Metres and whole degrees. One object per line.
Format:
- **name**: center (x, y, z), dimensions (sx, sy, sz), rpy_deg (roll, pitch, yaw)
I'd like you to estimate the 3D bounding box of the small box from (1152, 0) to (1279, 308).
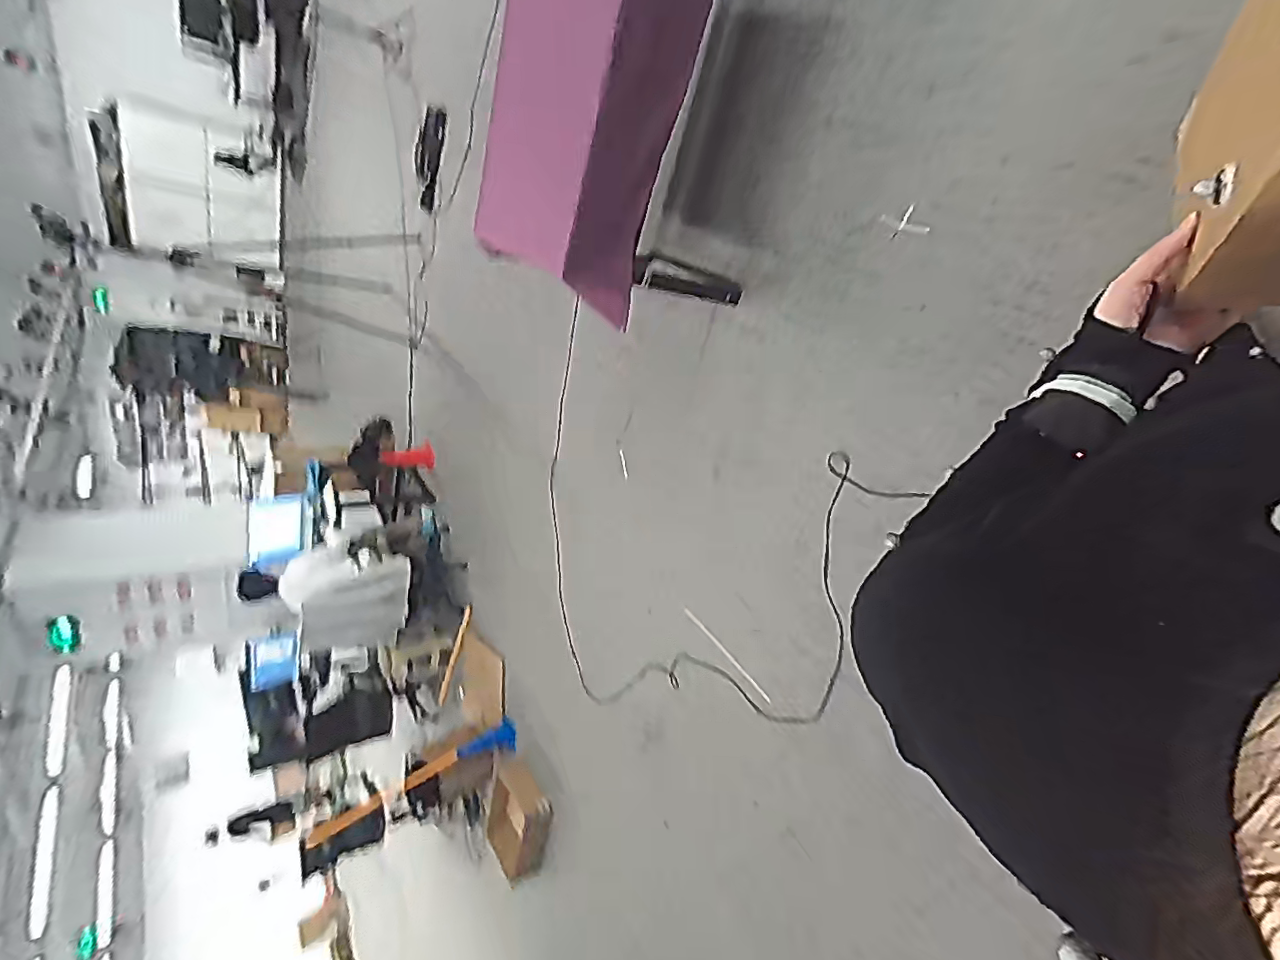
- **small box**: center (0.460, -0.231, 0.338), dimensions (0.168, 0.179, 0.176), rpy_deg (7, 81, 29)
